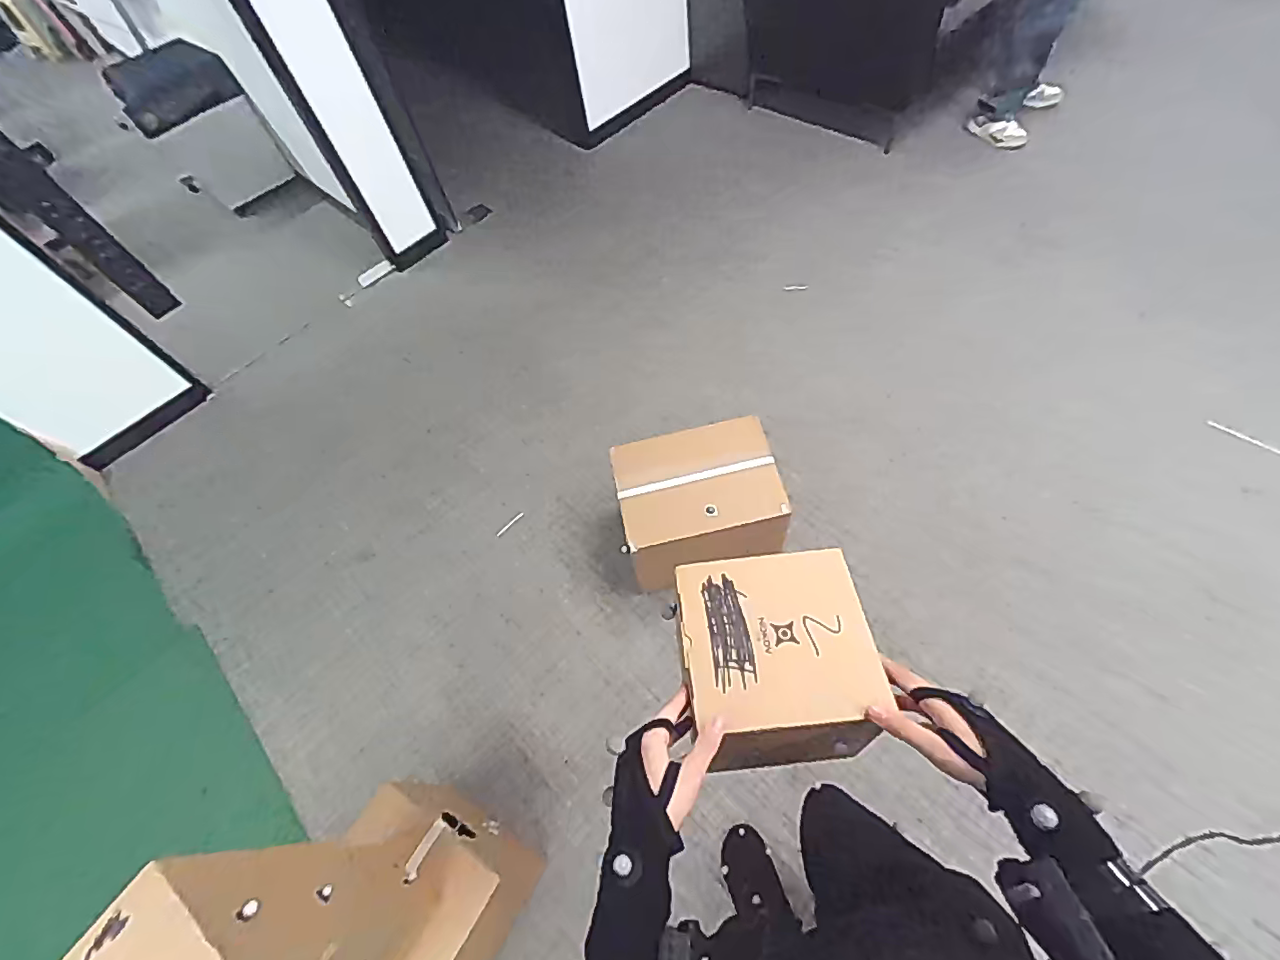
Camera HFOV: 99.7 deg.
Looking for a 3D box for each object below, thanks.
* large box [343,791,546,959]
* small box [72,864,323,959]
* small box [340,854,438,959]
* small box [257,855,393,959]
[{"bbox_3d":[-0.451,0.904,1.080,0.320,0.320,0.408,23,65,23],"label":"large box"},{"bbox_3d":[-0.512,0.574,0.615,0.179,0.176,0.168,29,66,21],"label":"small box"},{"bbox_3d":[-0.470,0.754,0.885,0.168,0.176,0.179,28,65,22],"label":"small box"},{"bbox_3d":[-0.488,0.658,0.753,0.179,0.176,0.168,29,66,23],"label":"small box"}]
